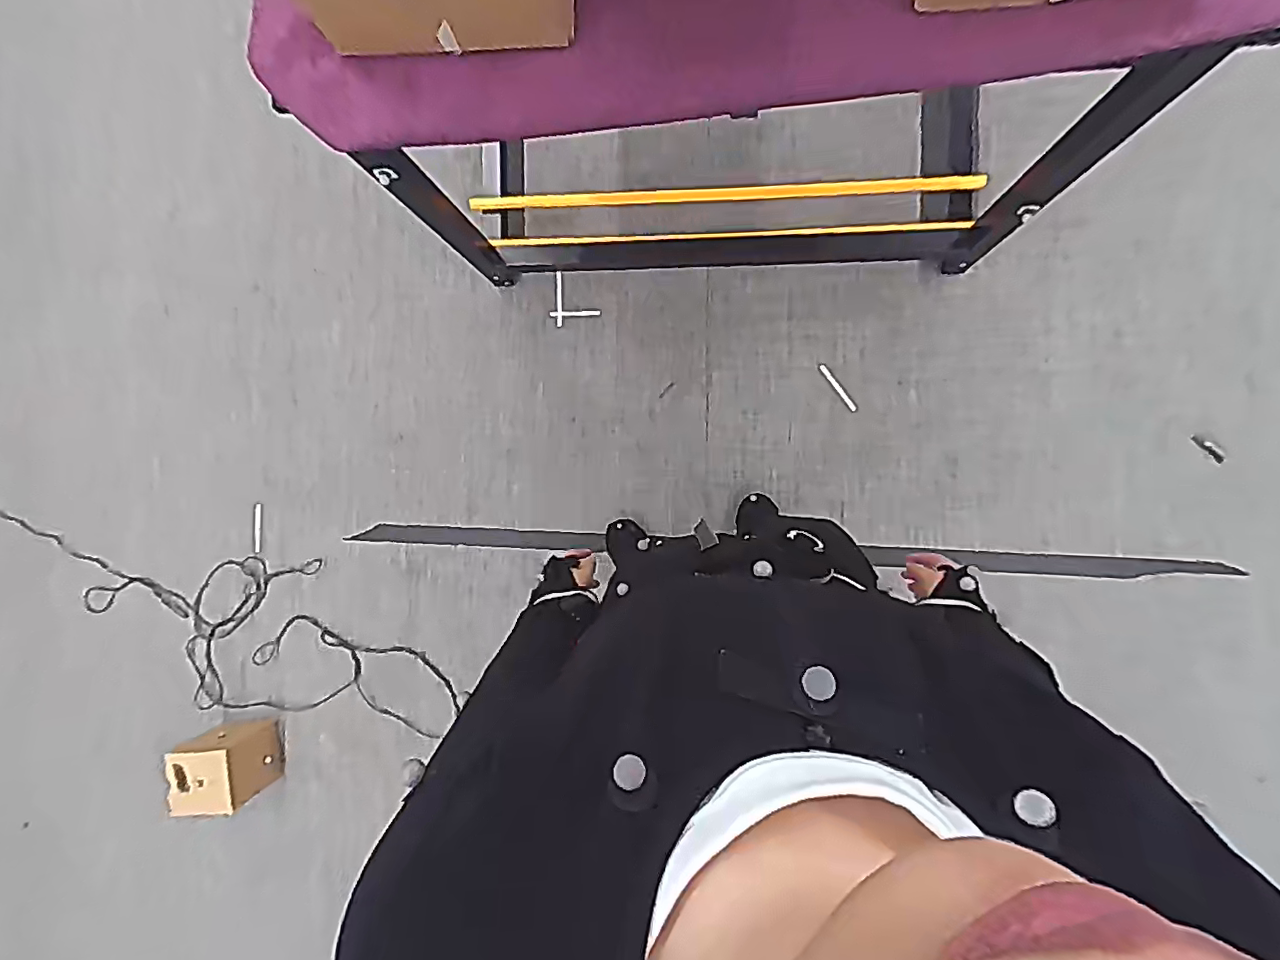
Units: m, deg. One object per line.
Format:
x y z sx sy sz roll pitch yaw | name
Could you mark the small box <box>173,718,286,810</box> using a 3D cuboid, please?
-1.111 0.768 1.472 0.179 0.176 0.168 -6 91 7 | small box
